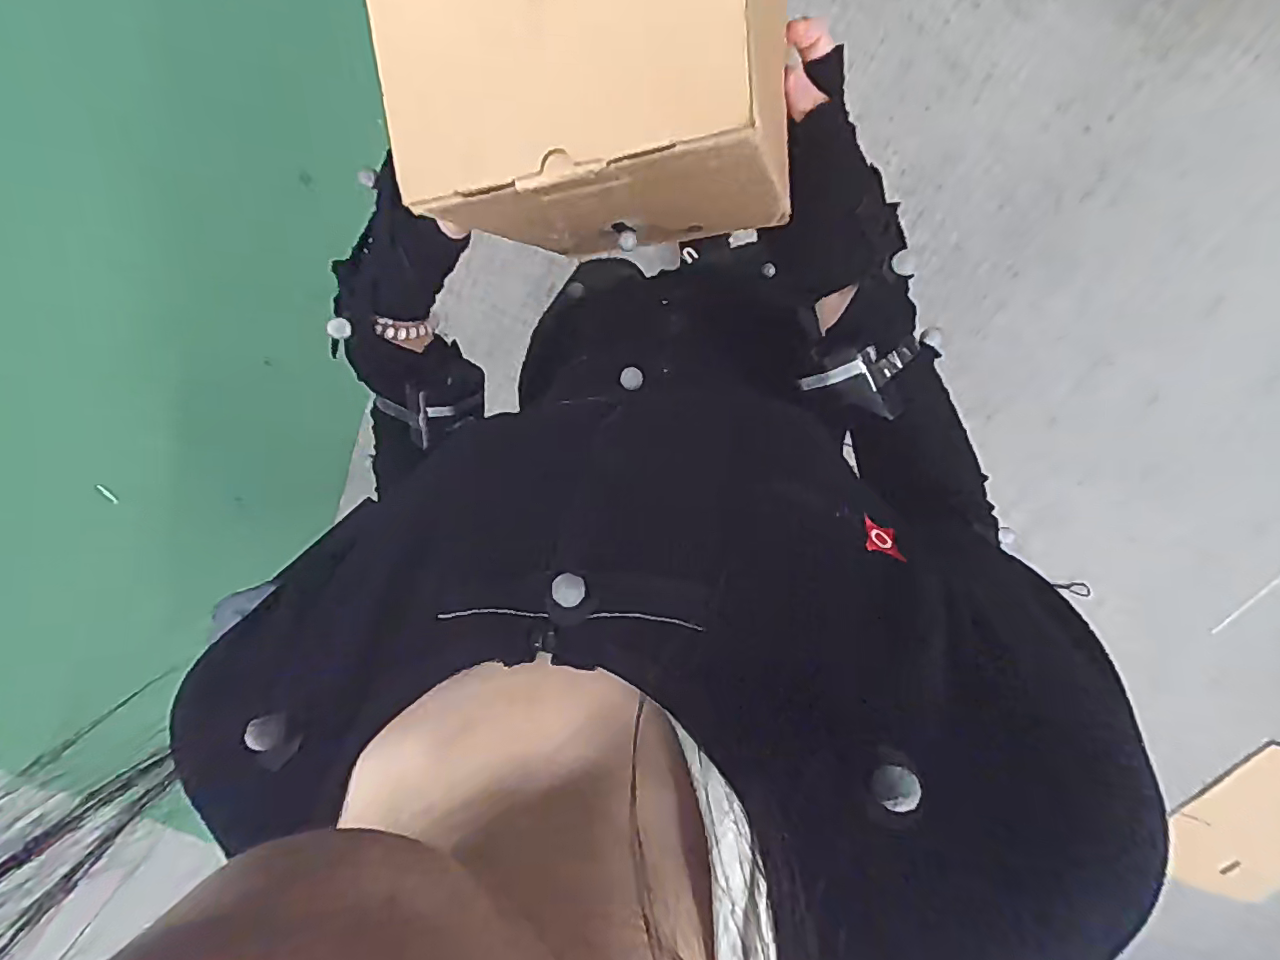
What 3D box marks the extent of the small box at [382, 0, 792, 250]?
[{"bbox_3d":[-0.012,-0.237,0.288,0.168,0.176,0.179,-1,105,21],"label":"small box"}]
